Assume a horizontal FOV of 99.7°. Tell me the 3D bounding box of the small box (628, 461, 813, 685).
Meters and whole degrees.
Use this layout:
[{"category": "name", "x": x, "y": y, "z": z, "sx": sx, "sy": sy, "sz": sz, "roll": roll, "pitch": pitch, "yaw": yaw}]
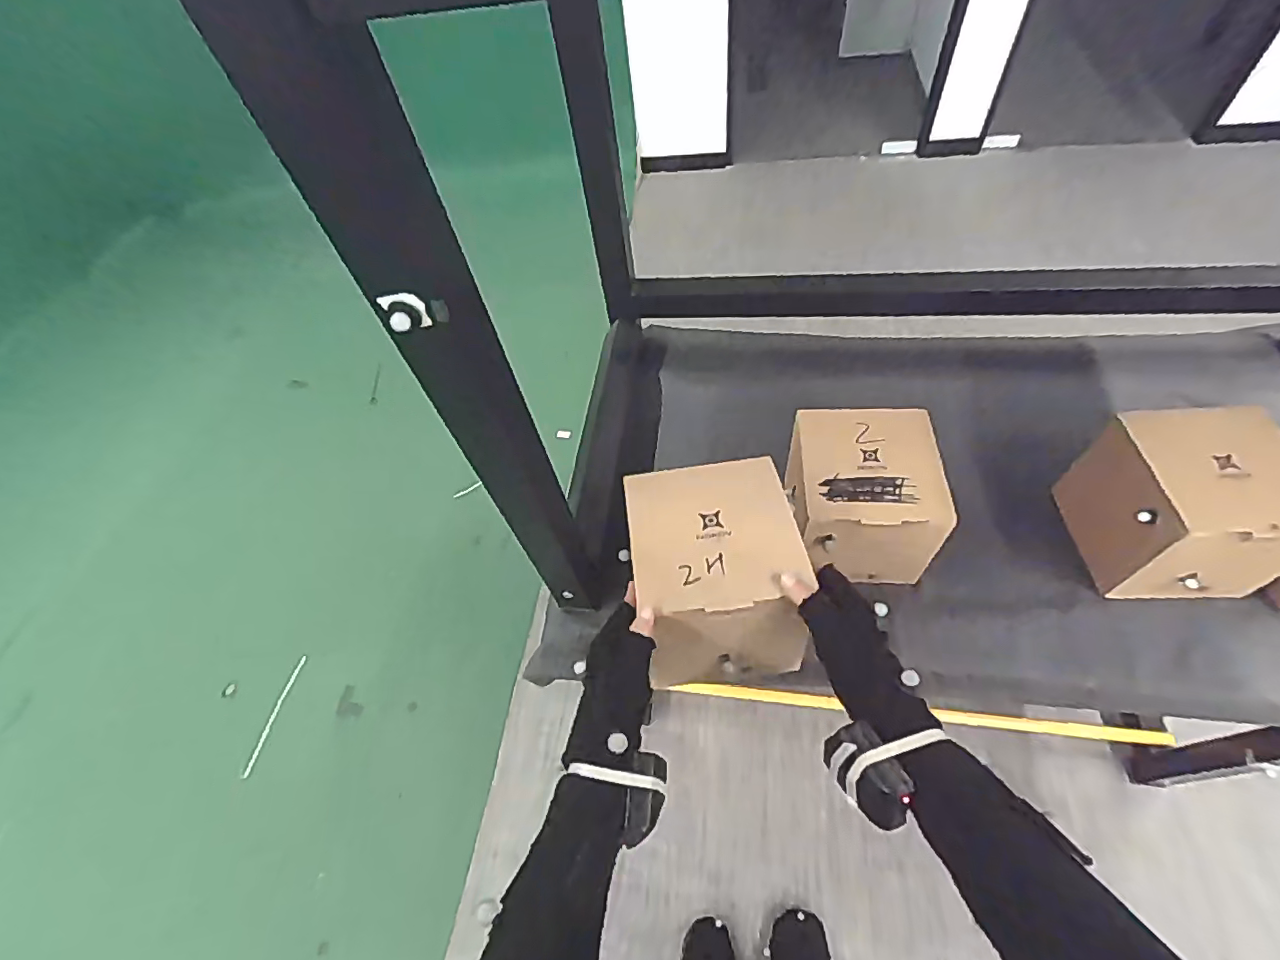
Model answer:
[{"category": "small box", "x": 0.079, "y": 0.105, "z": 0.605, "sx": 0.168, "sy": 0.176, "sz": 0.179, "roll": -8, "pitch": 47, "yaw": 2}]
